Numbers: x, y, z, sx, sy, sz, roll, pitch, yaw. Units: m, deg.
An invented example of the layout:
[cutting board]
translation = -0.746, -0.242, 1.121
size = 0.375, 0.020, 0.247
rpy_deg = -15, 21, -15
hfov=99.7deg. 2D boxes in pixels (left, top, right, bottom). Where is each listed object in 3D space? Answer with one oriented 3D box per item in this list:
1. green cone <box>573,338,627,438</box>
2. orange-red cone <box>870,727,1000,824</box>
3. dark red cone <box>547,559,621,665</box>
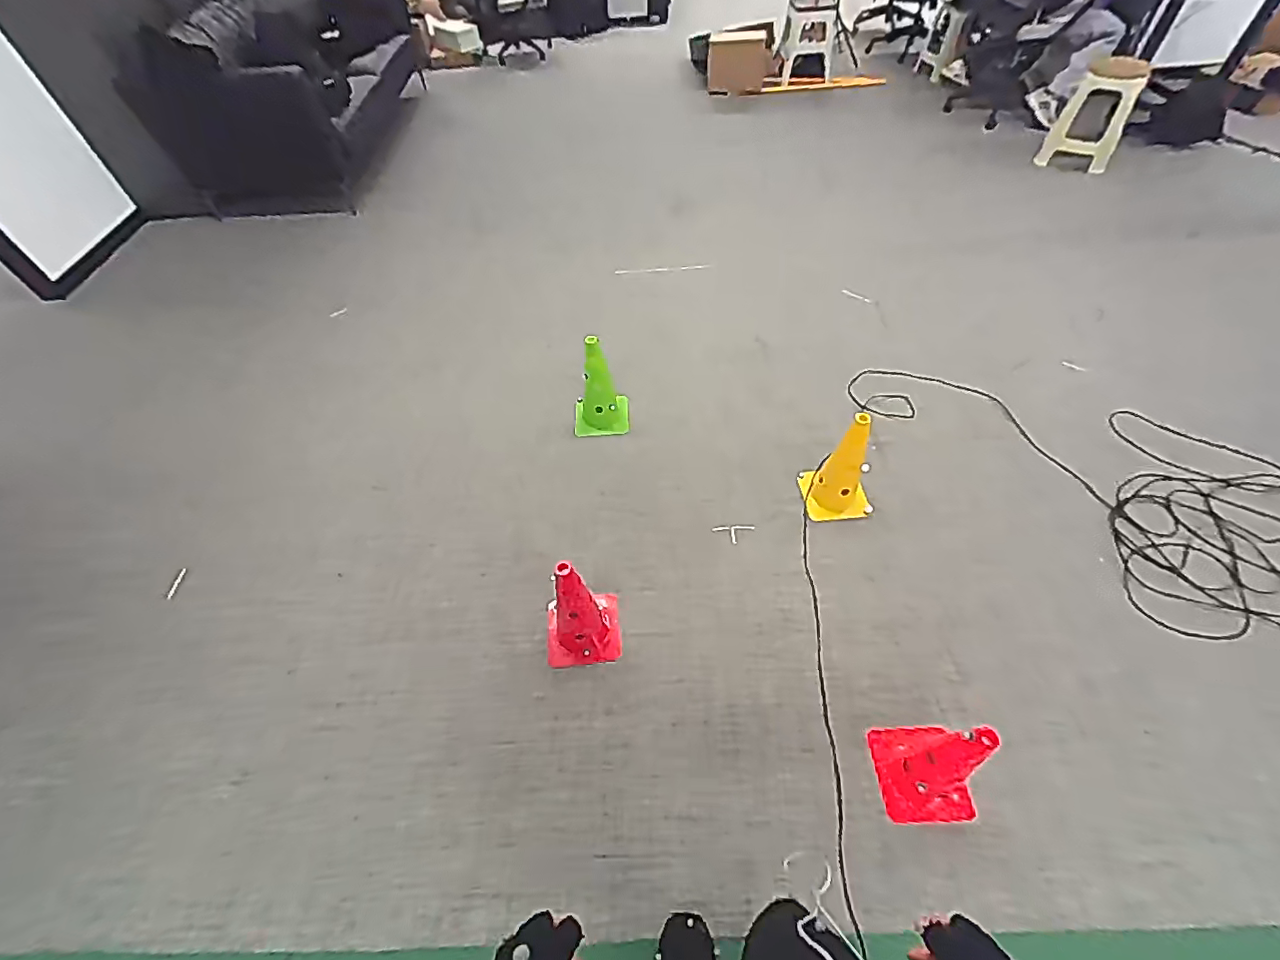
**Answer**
[green cone]
translation = -0.155, -0.342, 1.915
size = 0.202, 0.368, 0.200
rpy_deg = -3, 52, -1
[orange-red cone]
translation = 0.650, 0.582, 1.133
size = 0.198, 0.360, 0.199
rpy_deg = -2, 51, 1
[dark red cone]
translation = -0.166, 0.308, 1.372
size = 0.202, 0.394, 0.201
rpy_deg = -7, 53, -2
